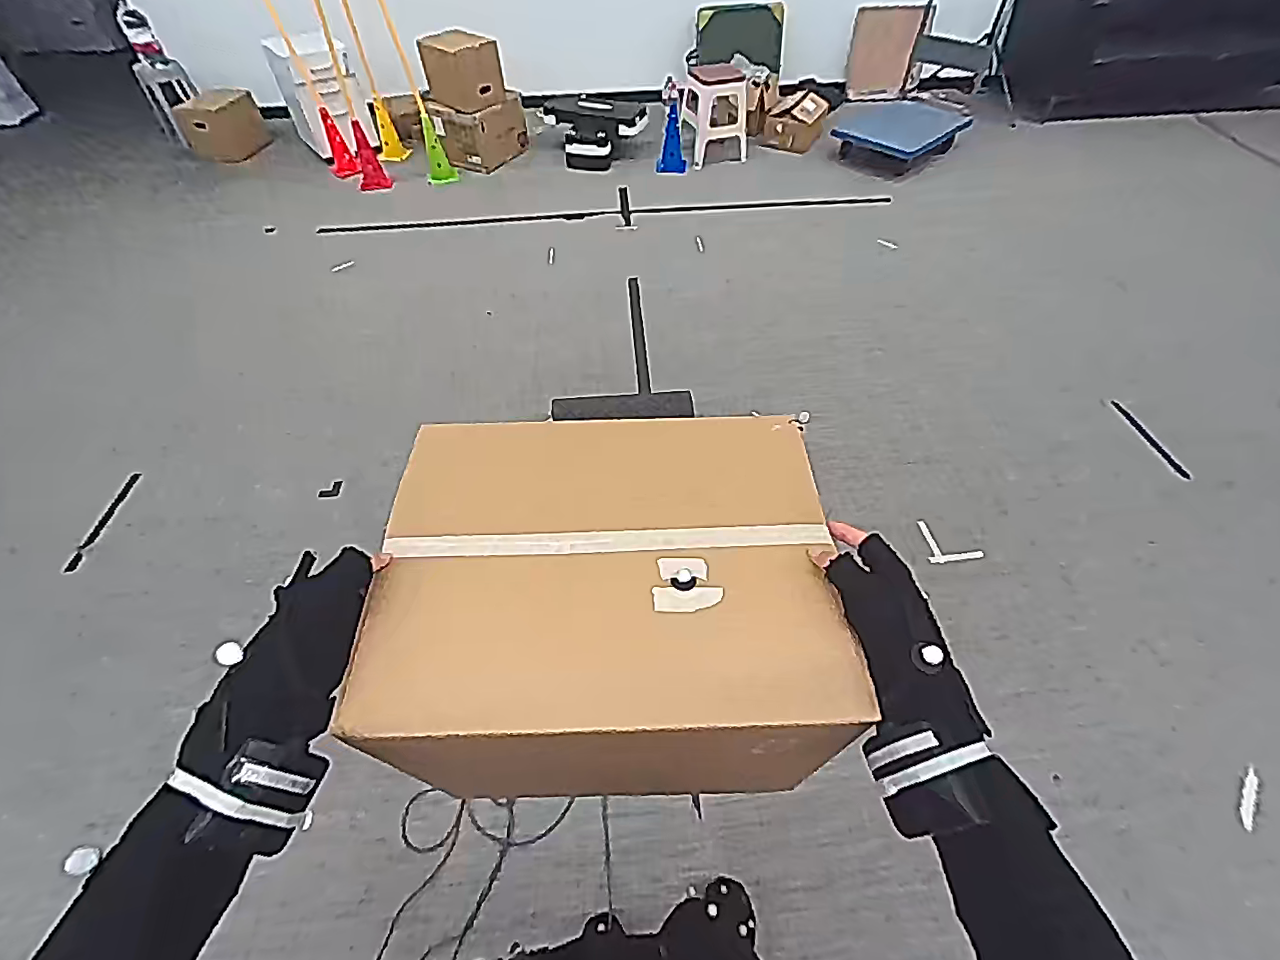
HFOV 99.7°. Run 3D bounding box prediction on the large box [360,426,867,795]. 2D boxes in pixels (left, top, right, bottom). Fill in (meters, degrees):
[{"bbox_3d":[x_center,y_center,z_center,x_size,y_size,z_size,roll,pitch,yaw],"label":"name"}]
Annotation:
[{"bbox_3d":[-0.024,0.157,0.624,0.408,0.320,0.320,-1,52,-1],"label":"large box"}]
